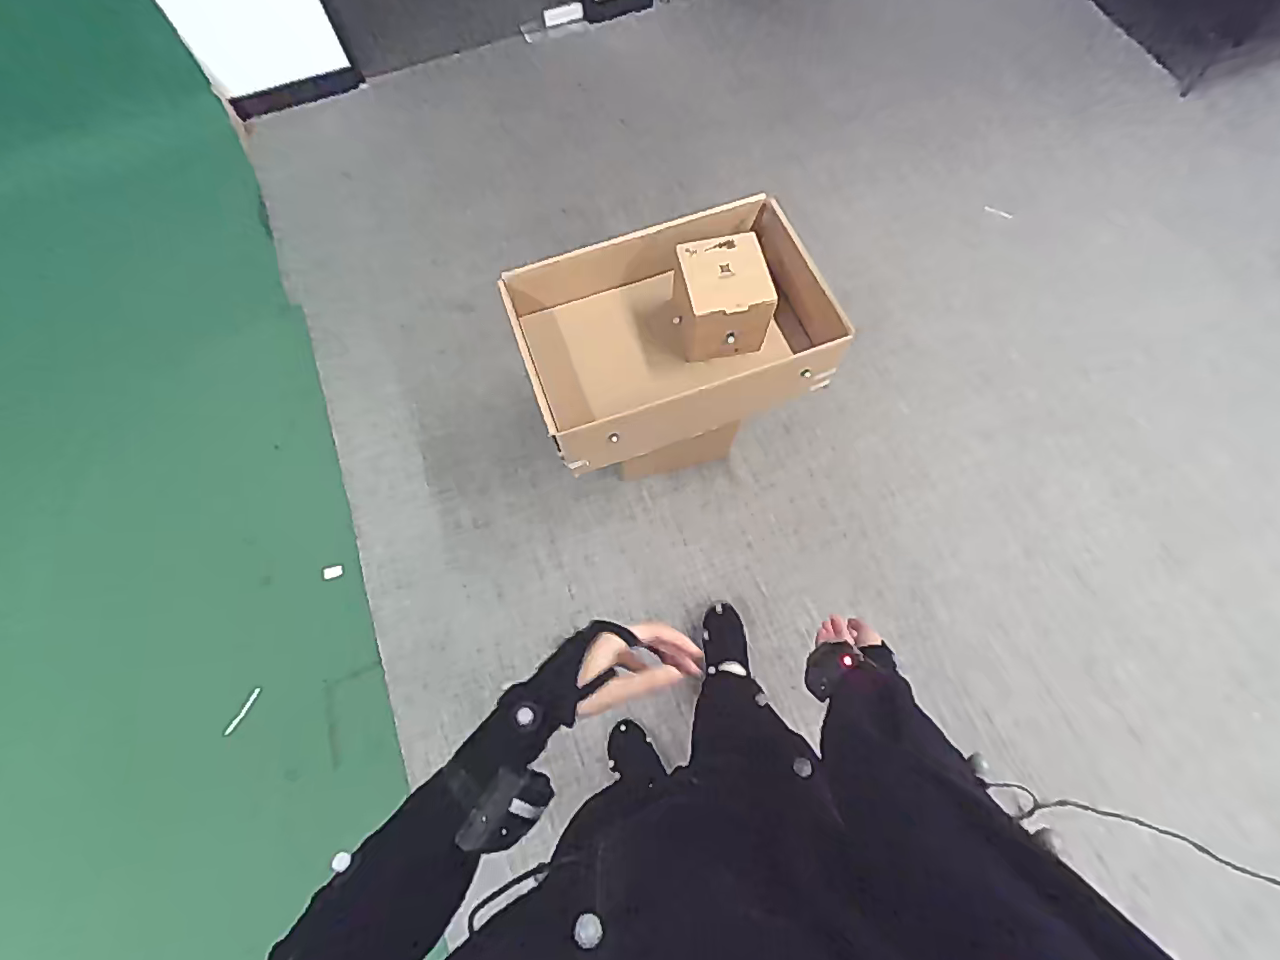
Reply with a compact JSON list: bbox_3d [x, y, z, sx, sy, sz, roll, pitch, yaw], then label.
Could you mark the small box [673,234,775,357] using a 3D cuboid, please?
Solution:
[{"bbox_3d":[0.165,-0.374,1.126,0.168,0.176,0.179,-10,71,-3],"label":"small box"}]
